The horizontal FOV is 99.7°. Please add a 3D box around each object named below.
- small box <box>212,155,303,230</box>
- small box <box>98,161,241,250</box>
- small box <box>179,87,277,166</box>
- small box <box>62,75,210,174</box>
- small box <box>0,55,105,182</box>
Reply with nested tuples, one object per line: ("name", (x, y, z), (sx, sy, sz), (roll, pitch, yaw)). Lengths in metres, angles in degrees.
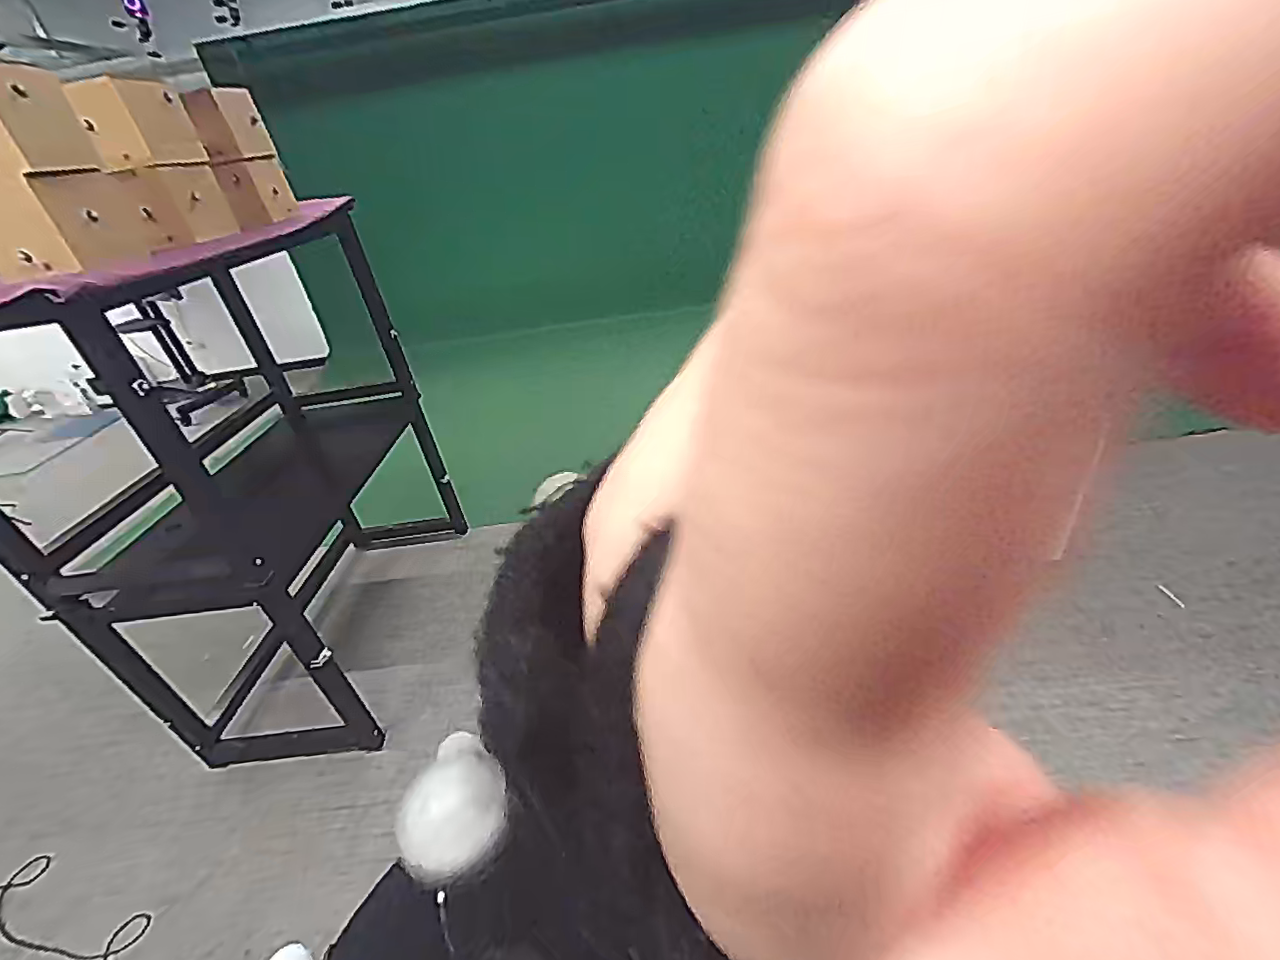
("small box", (-1.168, -0.865, 1.629), (0.179, 0.176, 0.168), (-8, 34, 5))
("small box", (-1.151, -0.680, 1.343), (0.168, 0.176, 0.179), (-6, 33, 4))
("small box", (-1.178, -0.998, 1.535), (0.168, 0.176, 0.179), (-9, 35, 5))
("small box", (-1.167, -0.819, 1.258), (0.168, 0.176, 0.179), (-5, 32, 6))
("small box", (-1.139, -0.638, 0.966), (0.168, 0.176, 0.179), (-8, 32, -1))
